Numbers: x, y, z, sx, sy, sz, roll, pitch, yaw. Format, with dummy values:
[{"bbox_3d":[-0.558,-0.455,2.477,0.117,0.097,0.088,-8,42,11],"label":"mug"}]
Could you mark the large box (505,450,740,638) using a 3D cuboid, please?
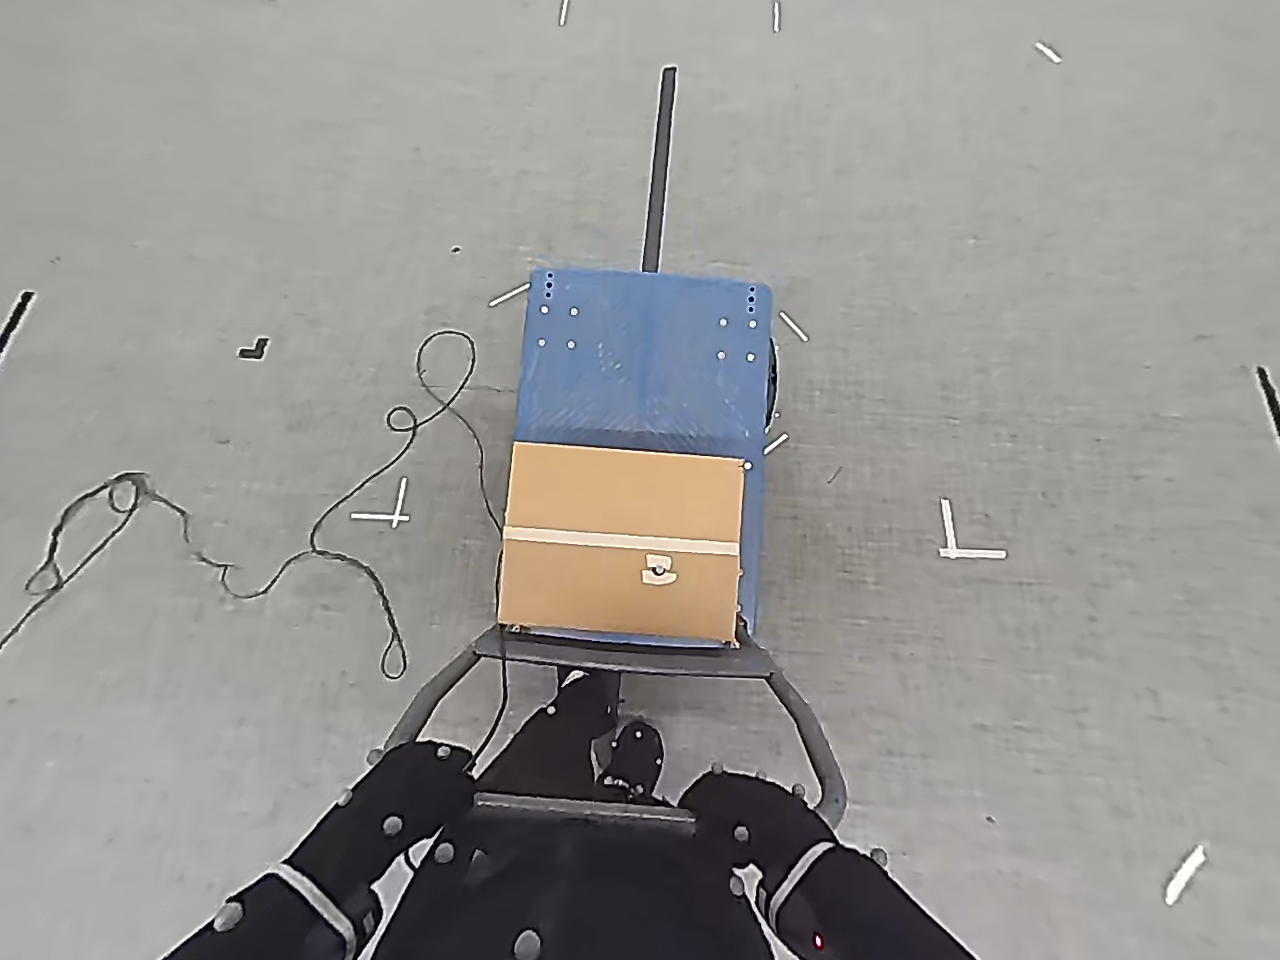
[{"bbox_3d":[-0.032,0.126,1.096,0.408,0.320,0.320,5,85,-1],"label":"large box"}]
